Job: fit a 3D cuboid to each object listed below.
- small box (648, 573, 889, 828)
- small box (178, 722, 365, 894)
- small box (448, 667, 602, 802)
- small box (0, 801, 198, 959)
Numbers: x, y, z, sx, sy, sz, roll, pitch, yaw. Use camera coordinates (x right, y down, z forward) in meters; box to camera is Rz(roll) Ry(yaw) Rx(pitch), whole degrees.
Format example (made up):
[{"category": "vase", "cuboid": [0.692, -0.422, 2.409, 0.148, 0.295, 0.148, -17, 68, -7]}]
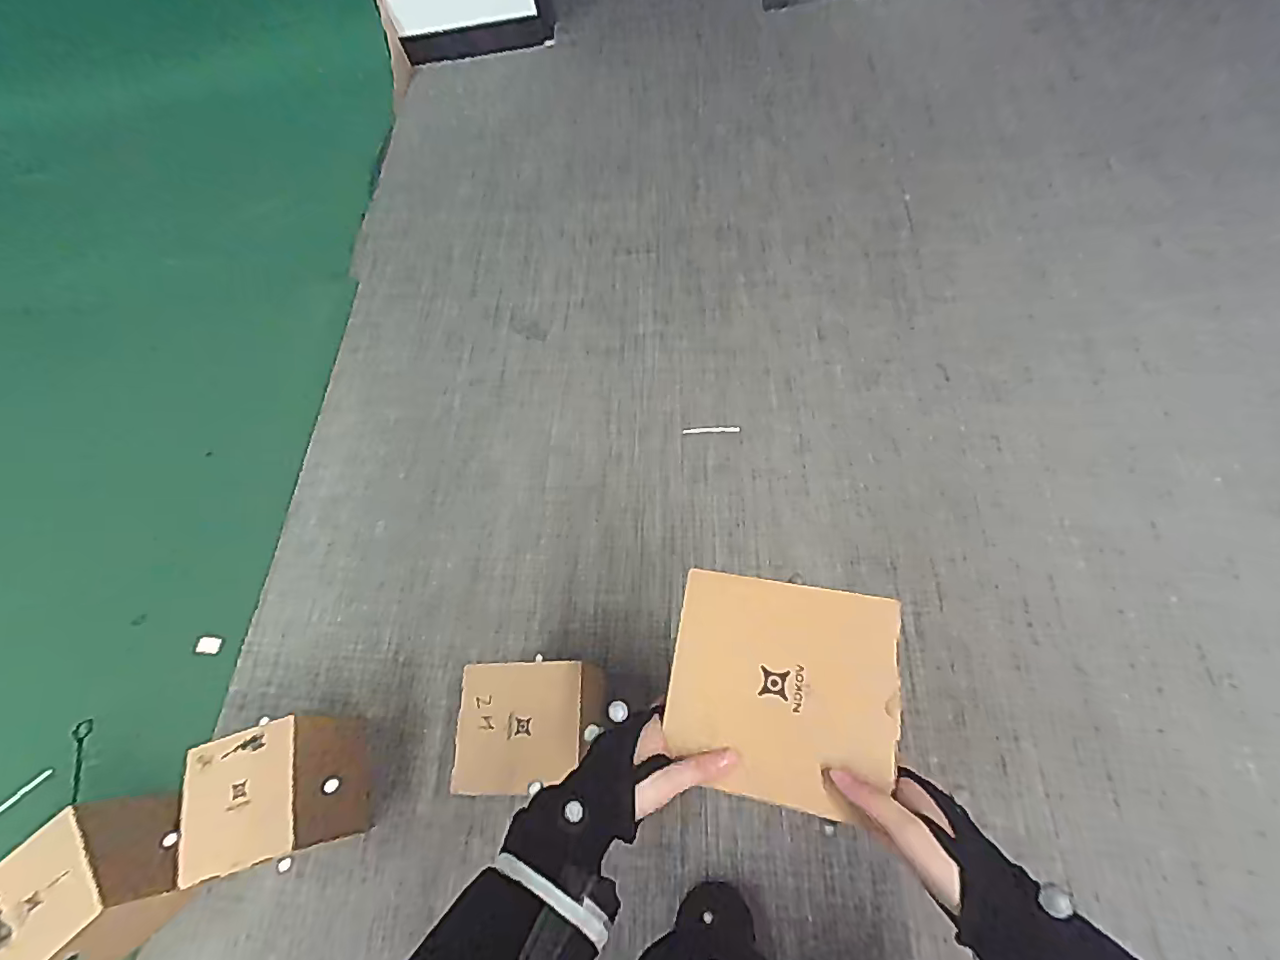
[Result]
[{"category": "small box", "cuboid": [0.118, 0.199, 0.504, 0.179, 0.176, 0.168, 7, 67, 13]}, {"category": "small box", "cuboid": [-0.539, 0.476, 0.815, 0.168, 0.176, 0.179, -18, 64, 0]}, {"category": "small box", "cuboid": [-0.155, 0.372, 0.801, 0.179, 0.176, 0.168, -3, 64, 7]}, {"category": "small box", "cuboid": [-0.807, 0.610, 0.795, 0.179, 0.176, 0.168, -42, 65, -12]}]
